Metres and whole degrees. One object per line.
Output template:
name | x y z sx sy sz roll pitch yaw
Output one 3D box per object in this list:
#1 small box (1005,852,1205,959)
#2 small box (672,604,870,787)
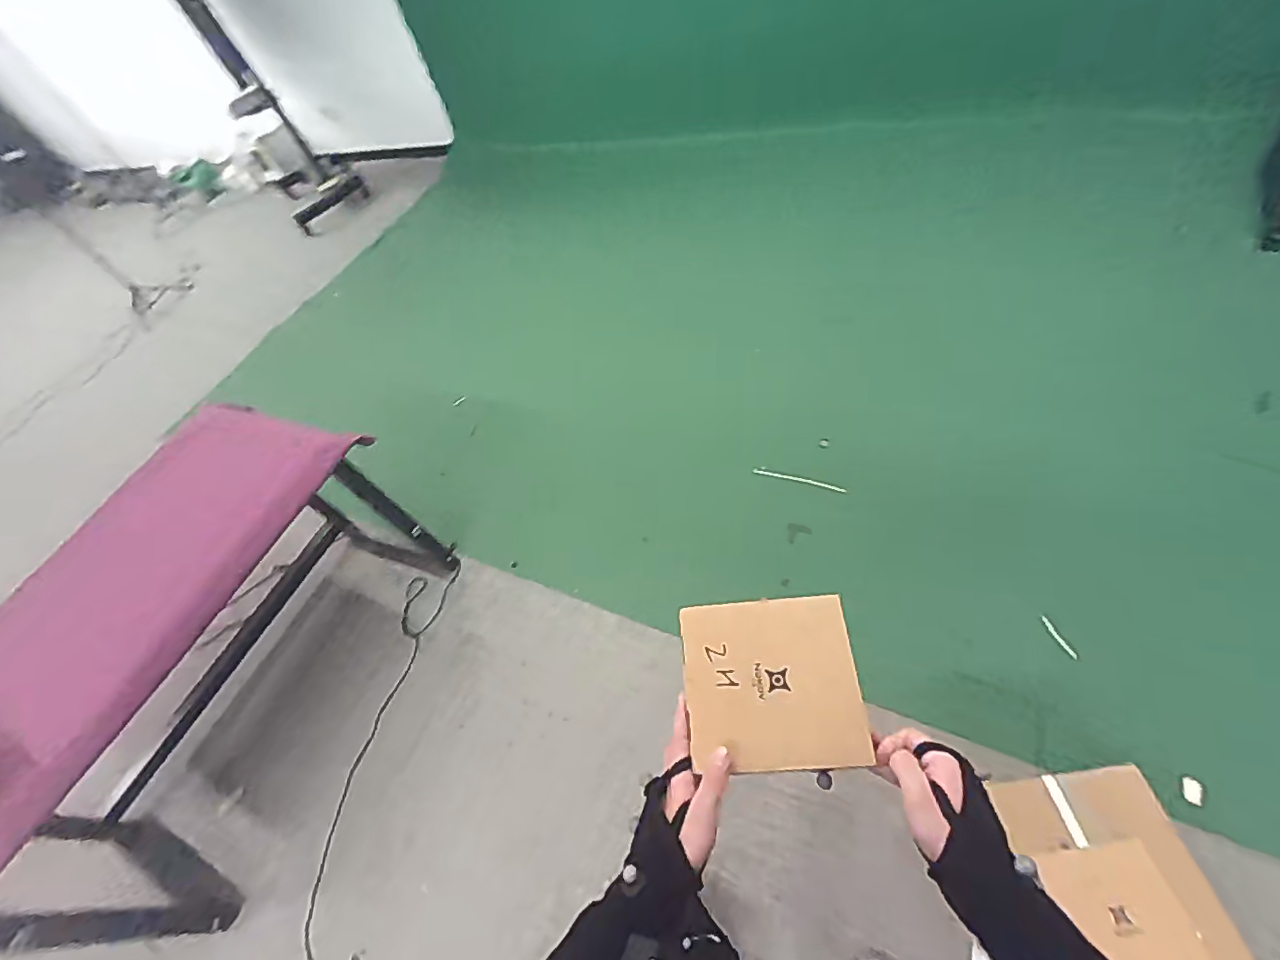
small box | 0.703 0.684 0.827 0.168 0.176 0.179 -13 52 7
small box | 0.136 0.247 0.612 0.179 0.176 0.168 -7 61 7
